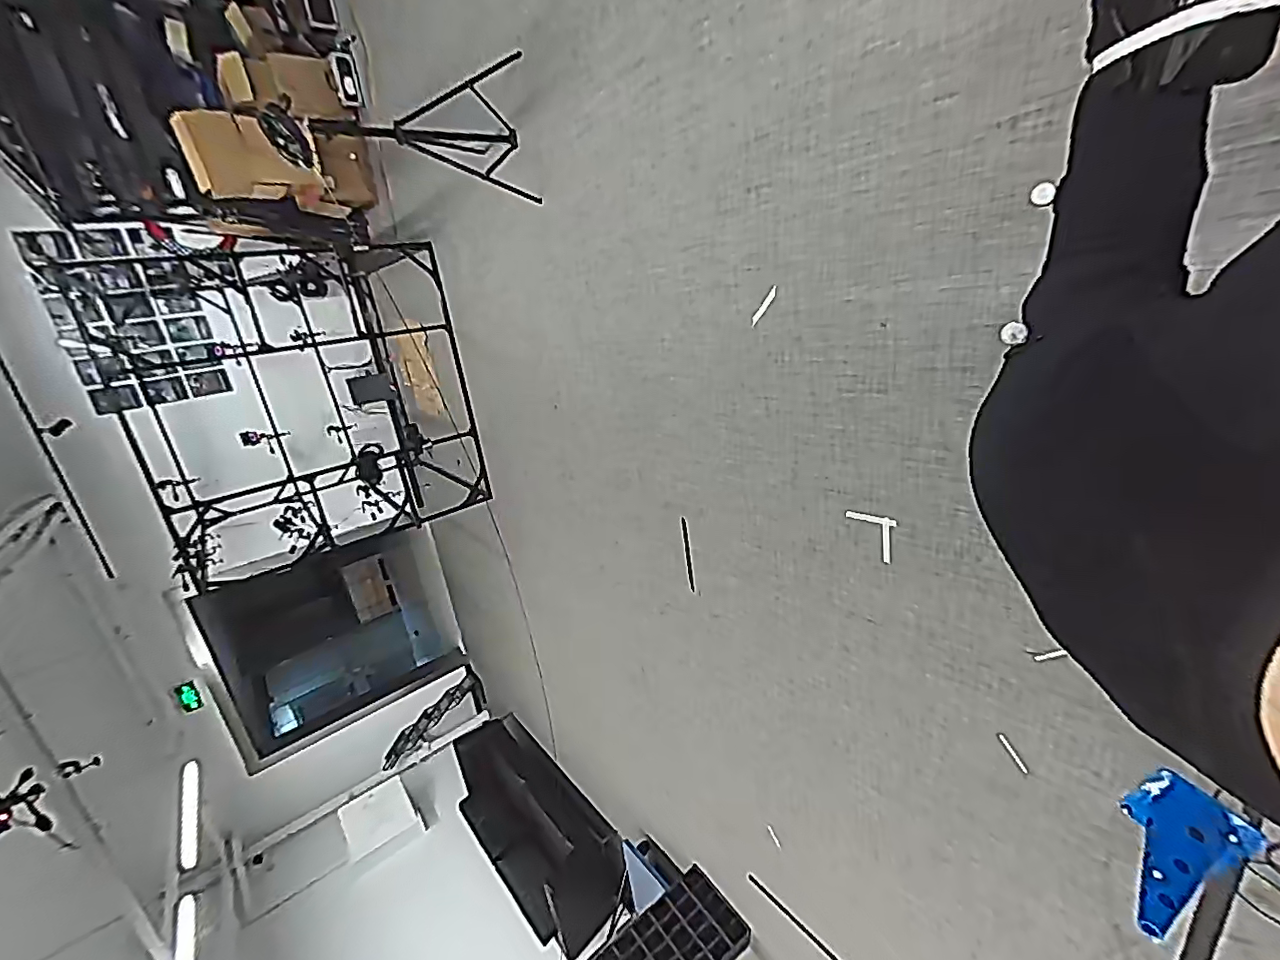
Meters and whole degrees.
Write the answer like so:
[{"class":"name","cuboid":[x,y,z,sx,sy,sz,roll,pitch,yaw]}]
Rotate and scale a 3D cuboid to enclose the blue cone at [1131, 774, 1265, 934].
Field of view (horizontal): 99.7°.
[{"class":"blue cone","cuboid":[1.216,0.873,1.225,0.193,0.380,0.192,41,138,37]}]
